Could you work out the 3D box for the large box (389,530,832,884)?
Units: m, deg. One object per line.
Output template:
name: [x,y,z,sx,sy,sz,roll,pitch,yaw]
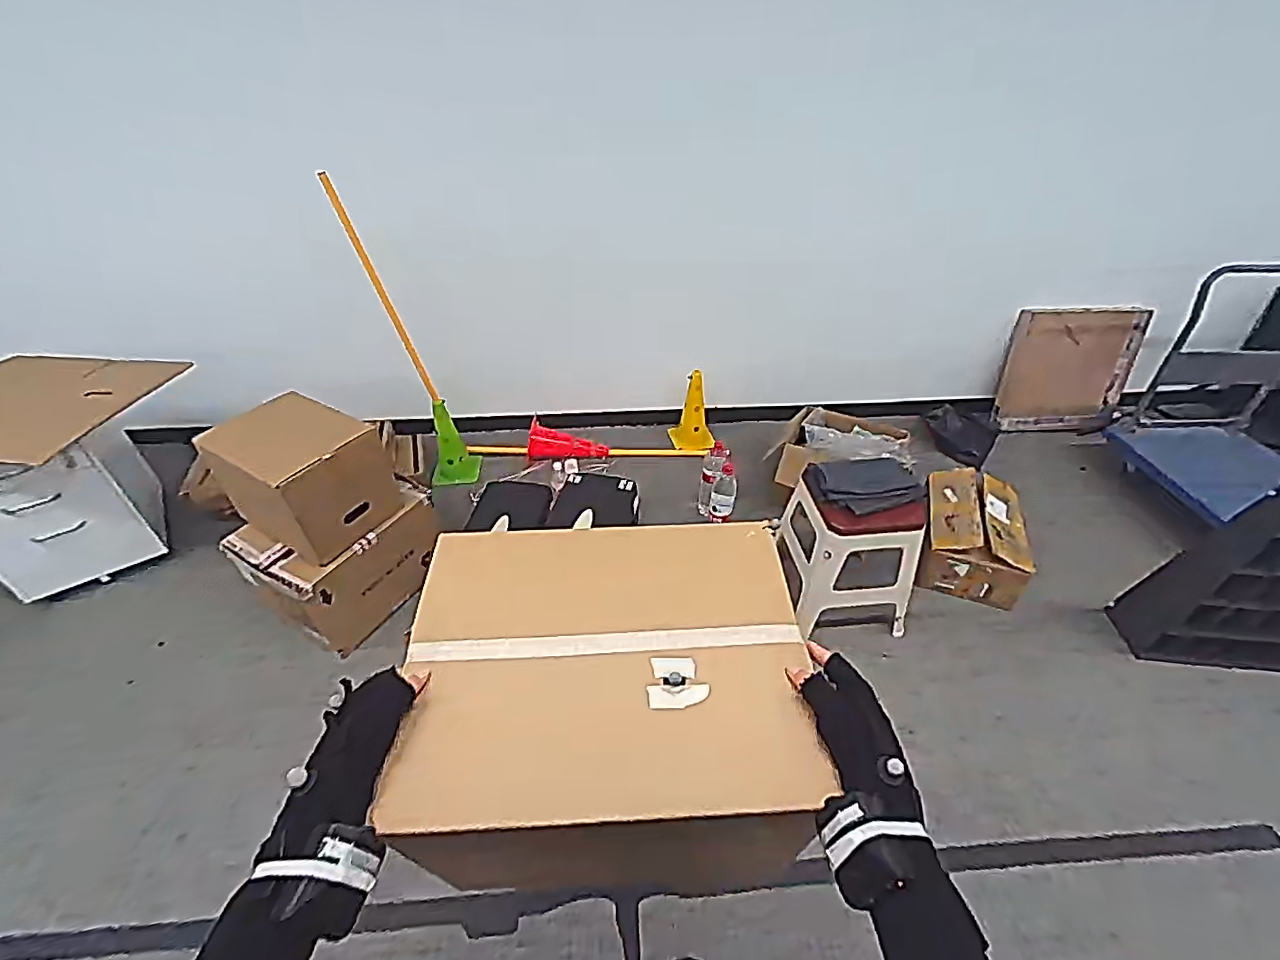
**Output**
large box: [-0.034,0.284,0.685,0.408,0.320,0.320,-2,46,-3]
